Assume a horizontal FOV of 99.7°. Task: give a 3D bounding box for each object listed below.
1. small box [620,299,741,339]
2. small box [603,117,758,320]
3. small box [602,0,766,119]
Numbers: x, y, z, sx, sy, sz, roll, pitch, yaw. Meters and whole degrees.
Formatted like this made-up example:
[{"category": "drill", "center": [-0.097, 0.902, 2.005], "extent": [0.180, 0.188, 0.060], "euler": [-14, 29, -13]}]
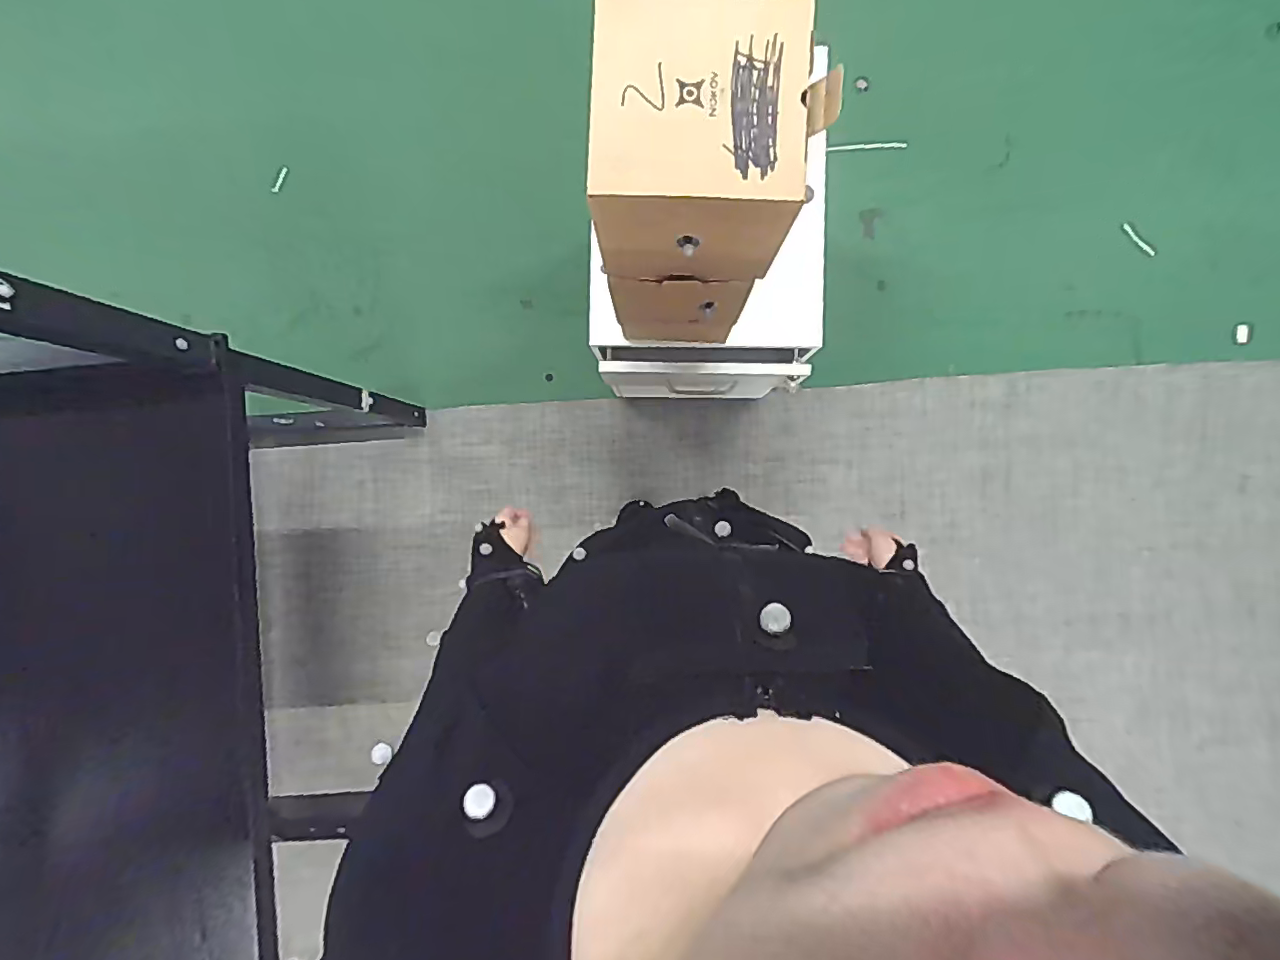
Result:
[{"category": "small box", "center": [0.059, -0.319, 0.820], "extent": [0.179, 0.176, 0.168], "euler": [4, 89, 1]}, {"category": "small box", "center": [0.046, -0.301, 0.659], "extent": [0.168, 0.176, 0.179], "euler": [0, 89, 1]}, {"category": "small box", "center": [0.054, -0.553, 0.659], "extent": [0.179, 0.176, 0.168], "euler": [4, 90, 1]}]
